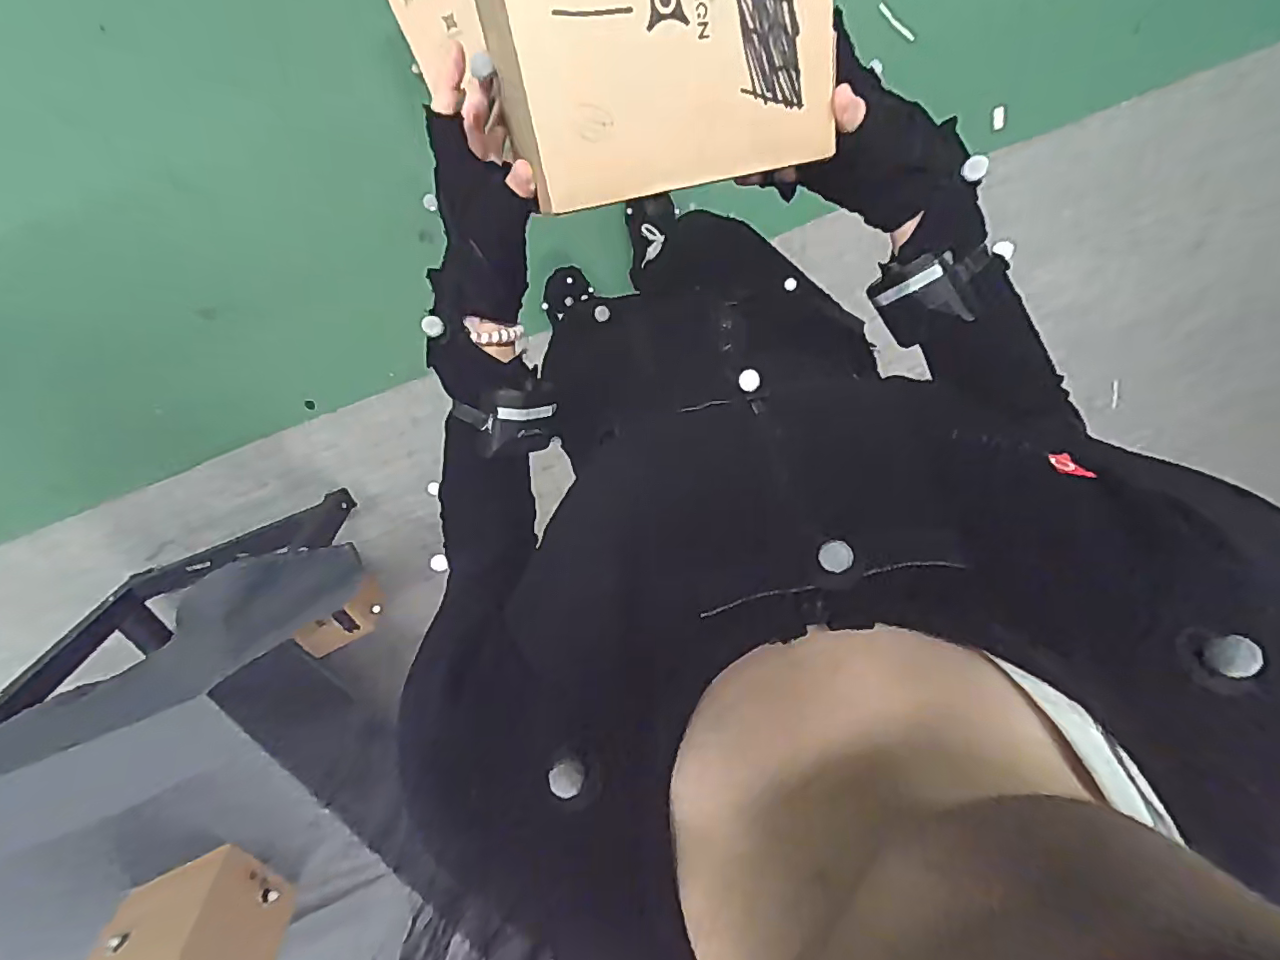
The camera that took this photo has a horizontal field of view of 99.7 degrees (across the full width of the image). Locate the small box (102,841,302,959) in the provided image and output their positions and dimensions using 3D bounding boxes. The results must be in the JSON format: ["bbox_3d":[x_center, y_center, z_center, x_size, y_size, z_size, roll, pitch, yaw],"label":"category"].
[{"bbox_3d":[-0.661,0.699,0.817,0.179,0.176,0.168,-25,118,-1],"label":"small box"}]

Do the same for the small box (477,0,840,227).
[{"bbox_3d":[0.002,-0.267,0.339,0.179,0.176,0.168,-16,120,-8],"label":"small box"}]

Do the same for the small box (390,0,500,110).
[{"bbox_3d":[-0.342,-0.826,1.018,0.168,0.176,0.179,-24,118,-2],"label":"small box"}]
